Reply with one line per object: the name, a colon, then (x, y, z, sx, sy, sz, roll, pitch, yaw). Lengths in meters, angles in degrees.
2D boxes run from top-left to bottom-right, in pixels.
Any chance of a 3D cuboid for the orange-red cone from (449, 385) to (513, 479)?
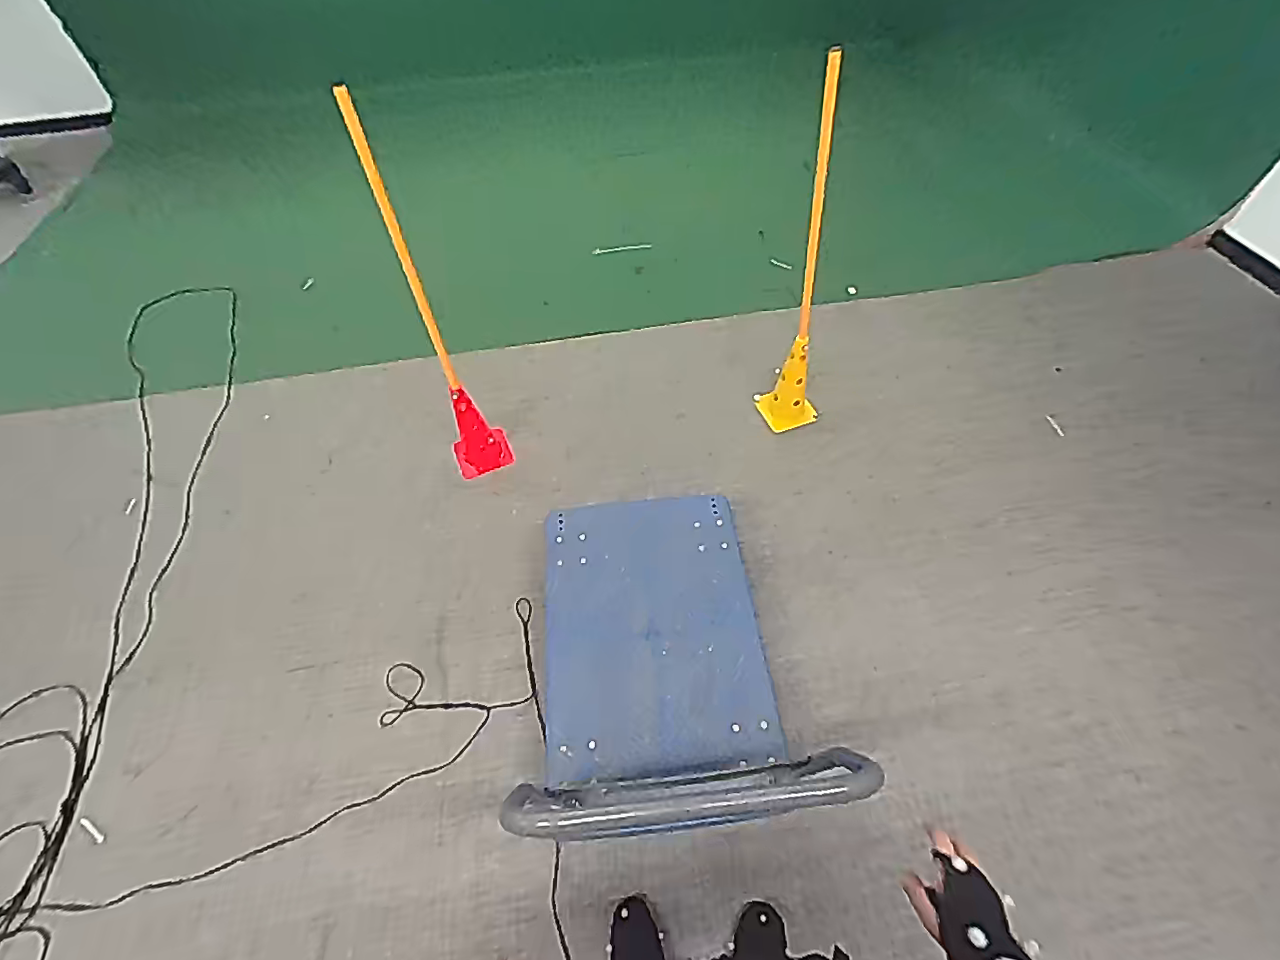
orange-red cone: (-0.605, -0.196, 1.921, 0.199, 0.360, 0.198, -22, 56, -11)
